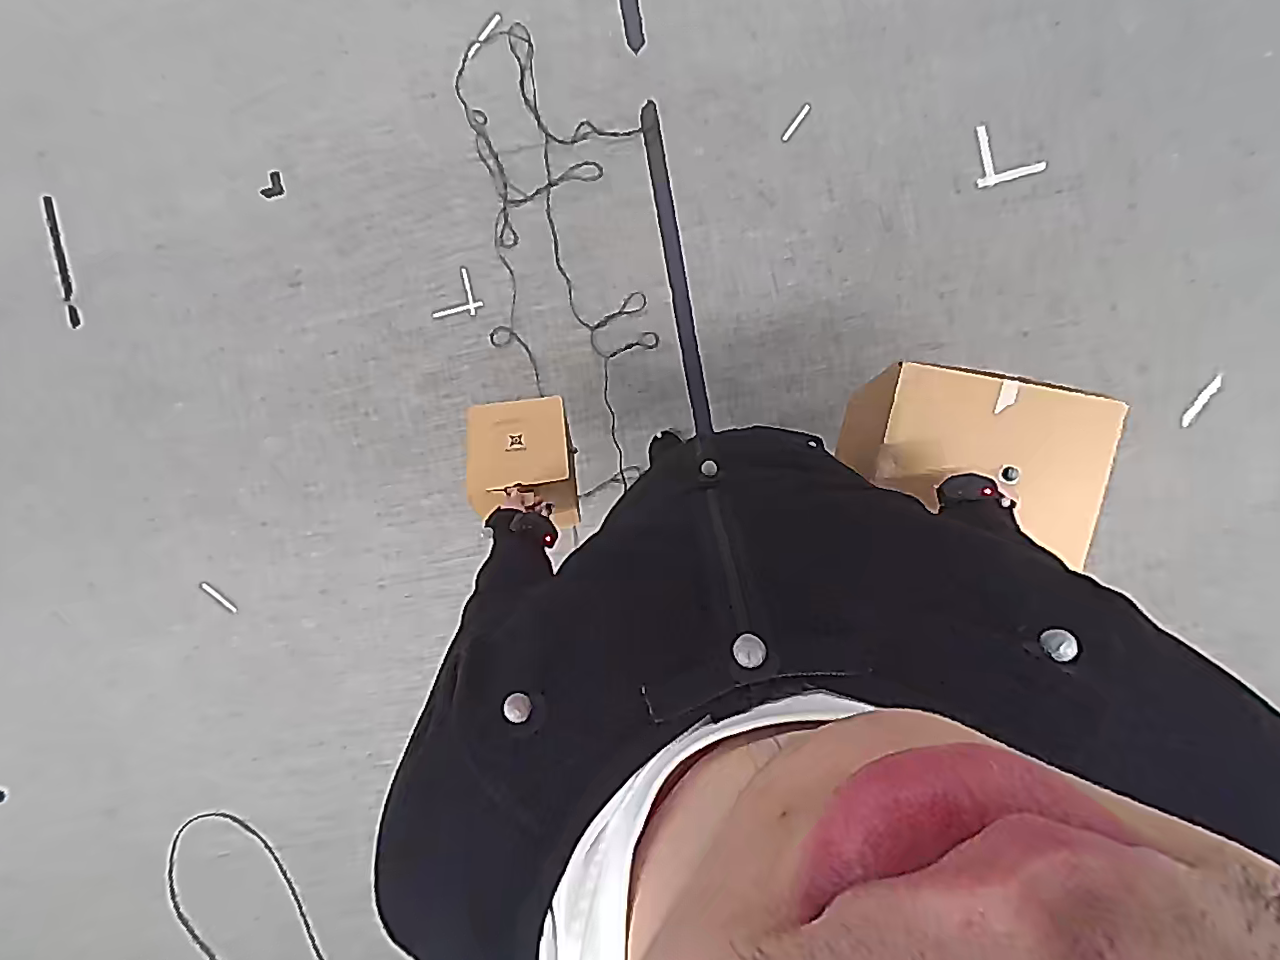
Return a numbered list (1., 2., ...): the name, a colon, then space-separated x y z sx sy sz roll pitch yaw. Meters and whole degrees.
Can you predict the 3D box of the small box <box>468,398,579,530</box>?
1. small box: -0.205 -0.021 0.978 0.168 0.176 0.179 -7 59 -5
